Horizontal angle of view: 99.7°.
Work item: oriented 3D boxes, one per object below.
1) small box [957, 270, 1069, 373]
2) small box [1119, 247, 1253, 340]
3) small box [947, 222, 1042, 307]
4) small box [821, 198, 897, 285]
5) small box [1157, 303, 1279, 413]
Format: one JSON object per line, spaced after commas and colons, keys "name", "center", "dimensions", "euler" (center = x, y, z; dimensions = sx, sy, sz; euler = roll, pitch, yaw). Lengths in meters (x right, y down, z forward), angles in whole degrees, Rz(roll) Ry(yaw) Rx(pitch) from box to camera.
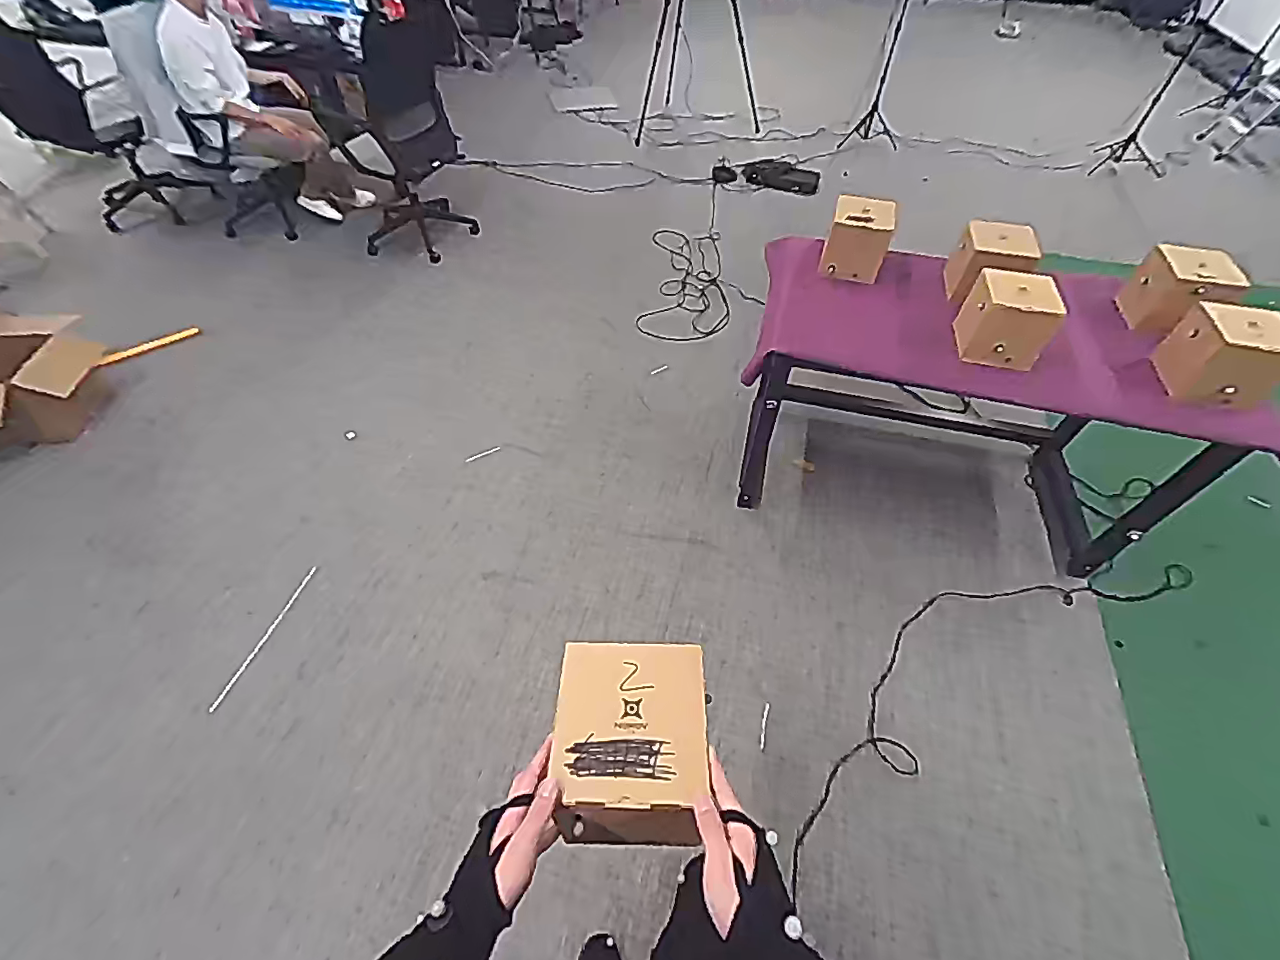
{"name": "small box", "center": [0.931, -0.401, 1.371], "dimensions": [0.168, 0.176, 0.179], "euler": [12, 52, 9]}
{"name": "small box", "center": [1.446, -0.494, 1.450], "dimensions": [0.168, 0.176, 0.179], "euler": [11, 51, 10]}
{"name": "small box", "center": [0.994, -0.602, 1.536], "dimensions": [0.168, 0.176, 0.179], "euler": [12, 53, 10]}
{"name": "small box", "center": [0.650, -0.710, 1.614], "dimensions": [0.168, 0.176, 0.179], "euler": [15, 53, 10]}
{"name": "small box", "center": [1.385, -0.287, 1.276], "dimensions": [0.168, 0.176, 0.179], "euler": [12, 51, 11]}
